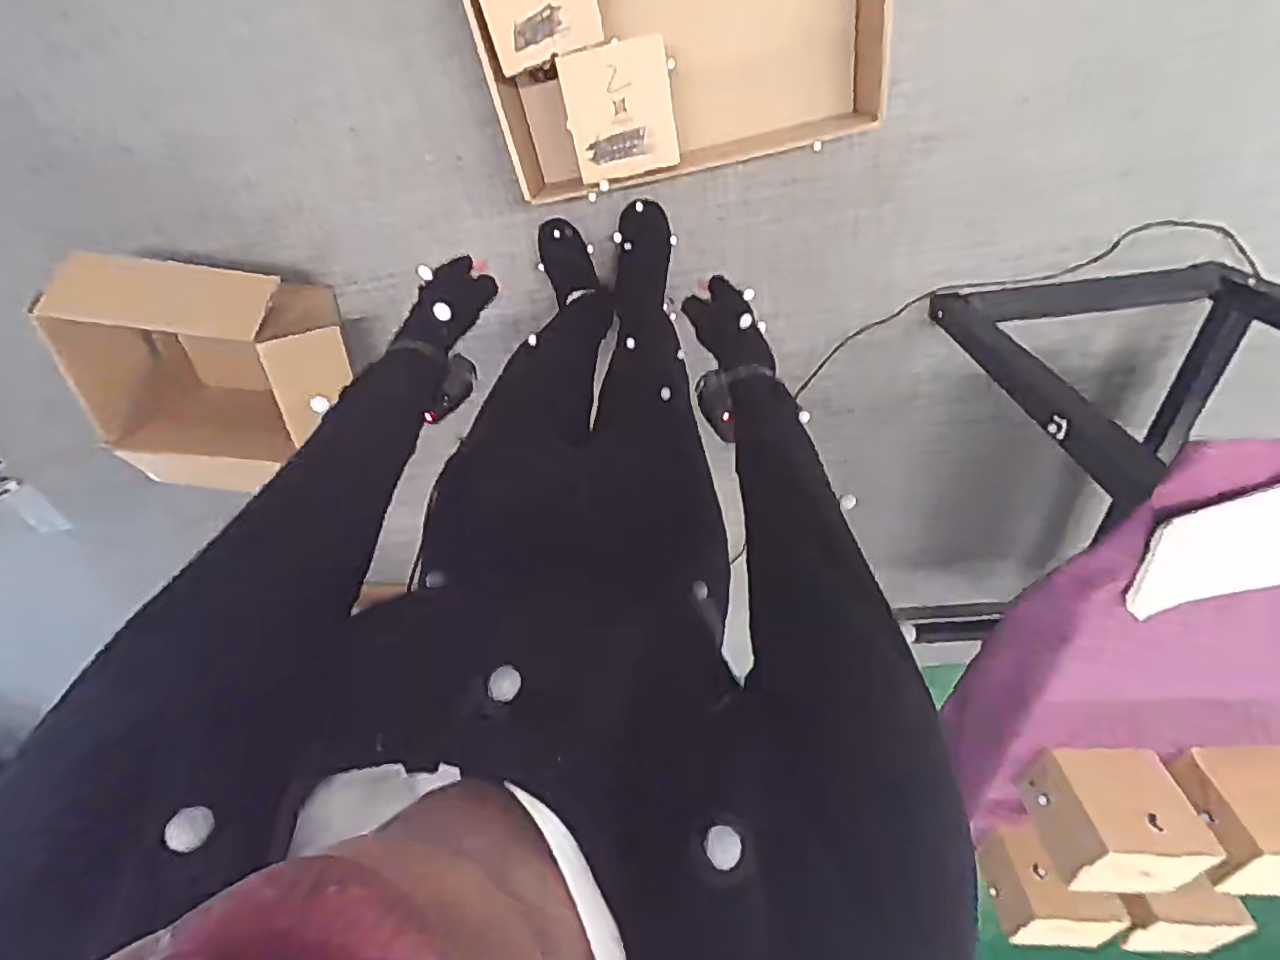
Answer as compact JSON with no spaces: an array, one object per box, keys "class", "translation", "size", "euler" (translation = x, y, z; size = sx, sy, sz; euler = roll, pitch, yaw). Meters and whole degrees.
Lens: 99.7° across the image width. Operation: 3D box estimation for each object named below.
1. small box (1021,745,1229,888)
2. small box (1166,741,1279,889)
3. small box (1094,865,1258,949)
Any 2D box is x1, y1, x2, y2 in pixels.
[{"class":"small box","translation":[0.818,0.580,0.938],"size":[0.179,0.176,0.168],"euler":[-1,127,4]},{"class":"small box","translation":[1.045,0.562,0.915],"size":[0.179,0.176,0.168],"euler":[-5,127,7]},{"class":"small box","translation":[1.068,0.834,1.119],"size":[0.179,0.176,0.168],"euler":[1,128,4]}]
